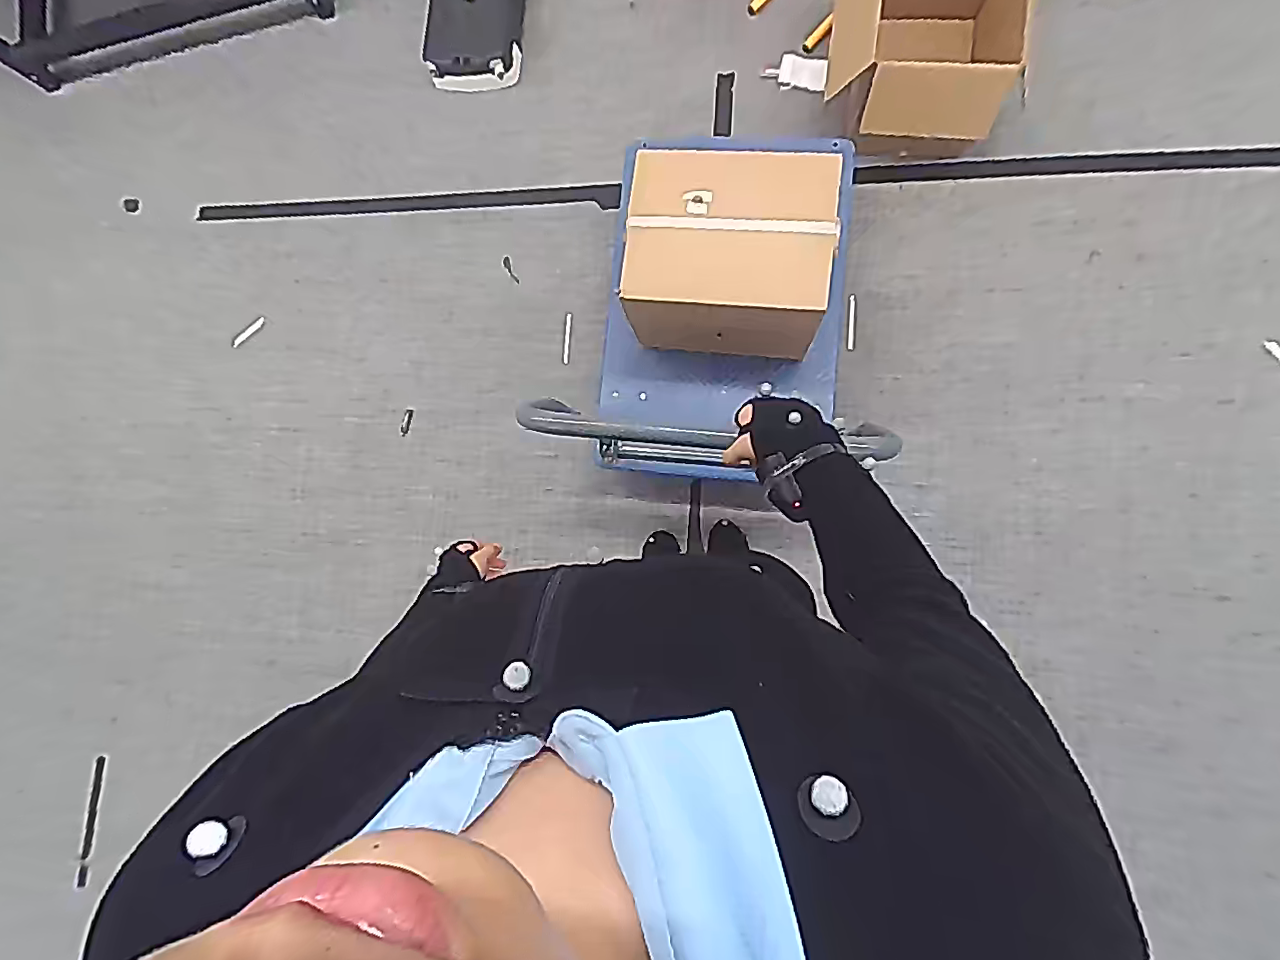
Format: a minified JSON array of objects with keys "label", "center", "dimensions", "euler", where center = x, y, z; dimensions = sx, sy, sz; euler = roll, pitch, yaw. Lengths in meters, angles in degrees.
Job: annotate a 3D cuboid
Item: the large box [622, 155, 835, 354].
[{"label":"large box","center":[0.197,-0.484,1.219],"dimensions":[0.408,0.320,0.320],"euler":[6,86,10]}]
